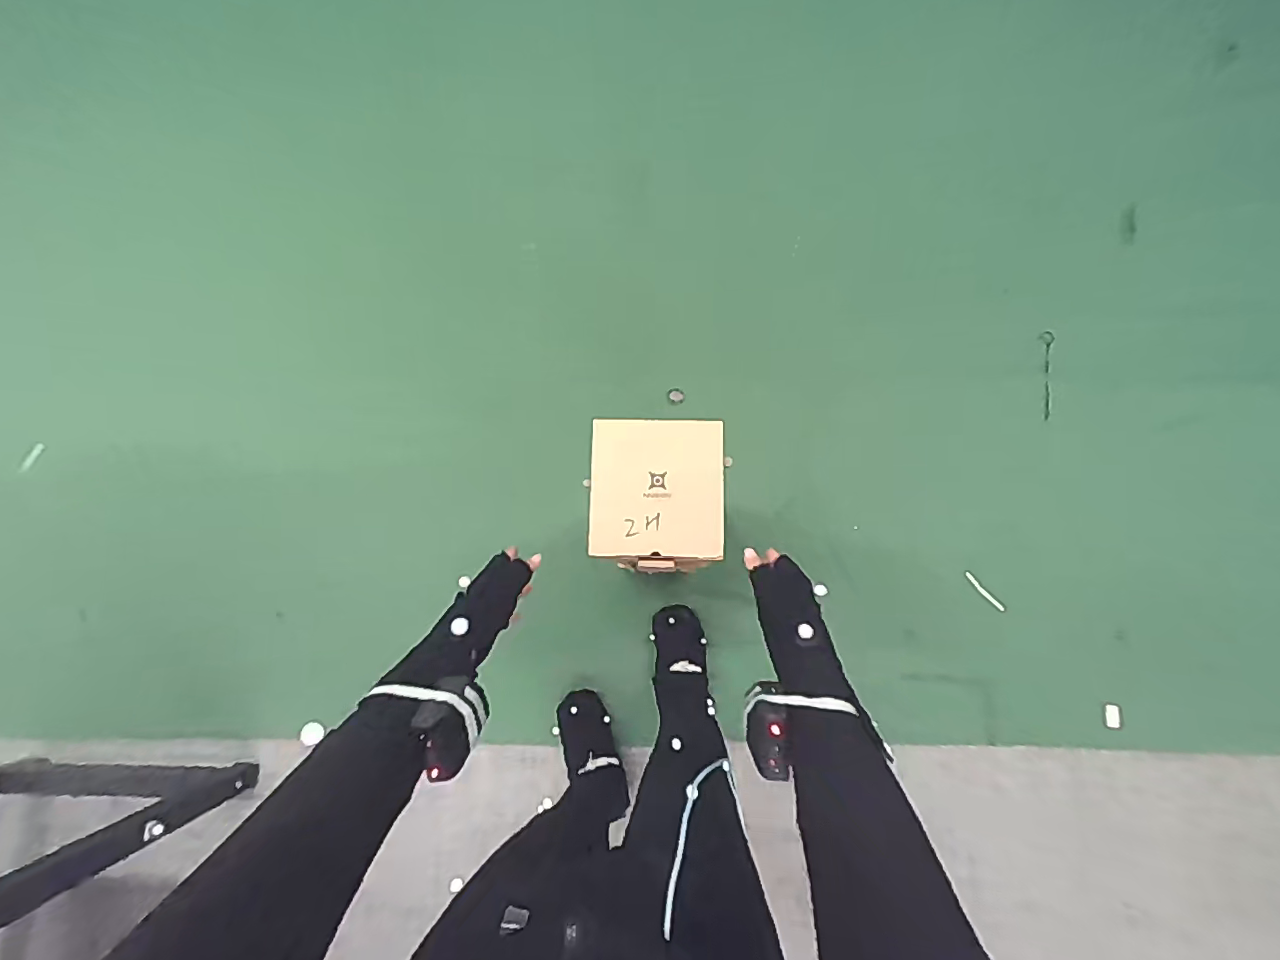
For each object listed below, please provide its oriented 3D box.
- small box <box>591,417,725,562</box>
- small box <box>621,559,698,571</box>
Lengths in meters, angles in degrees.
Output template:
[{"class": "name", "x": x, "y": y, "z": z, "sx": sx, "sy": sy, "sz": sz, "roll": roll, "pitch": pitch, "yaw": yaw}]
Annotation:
[{"class": "small box", "x": 0.025, "y": 0.021, "z": 0.749, "sx": 0.168, "sy": 0.176, "sz": 0.179, "roll": 1, "pitch": 81, "yaw": 2}, {"class": "small box", "x": 0.048, "y": 0.114, "z": 1.234, "sx": 0.168, "sy": 0.176, "sz": 0.179, "roll": 3, "pitch": 82, "yaw": 3}]
